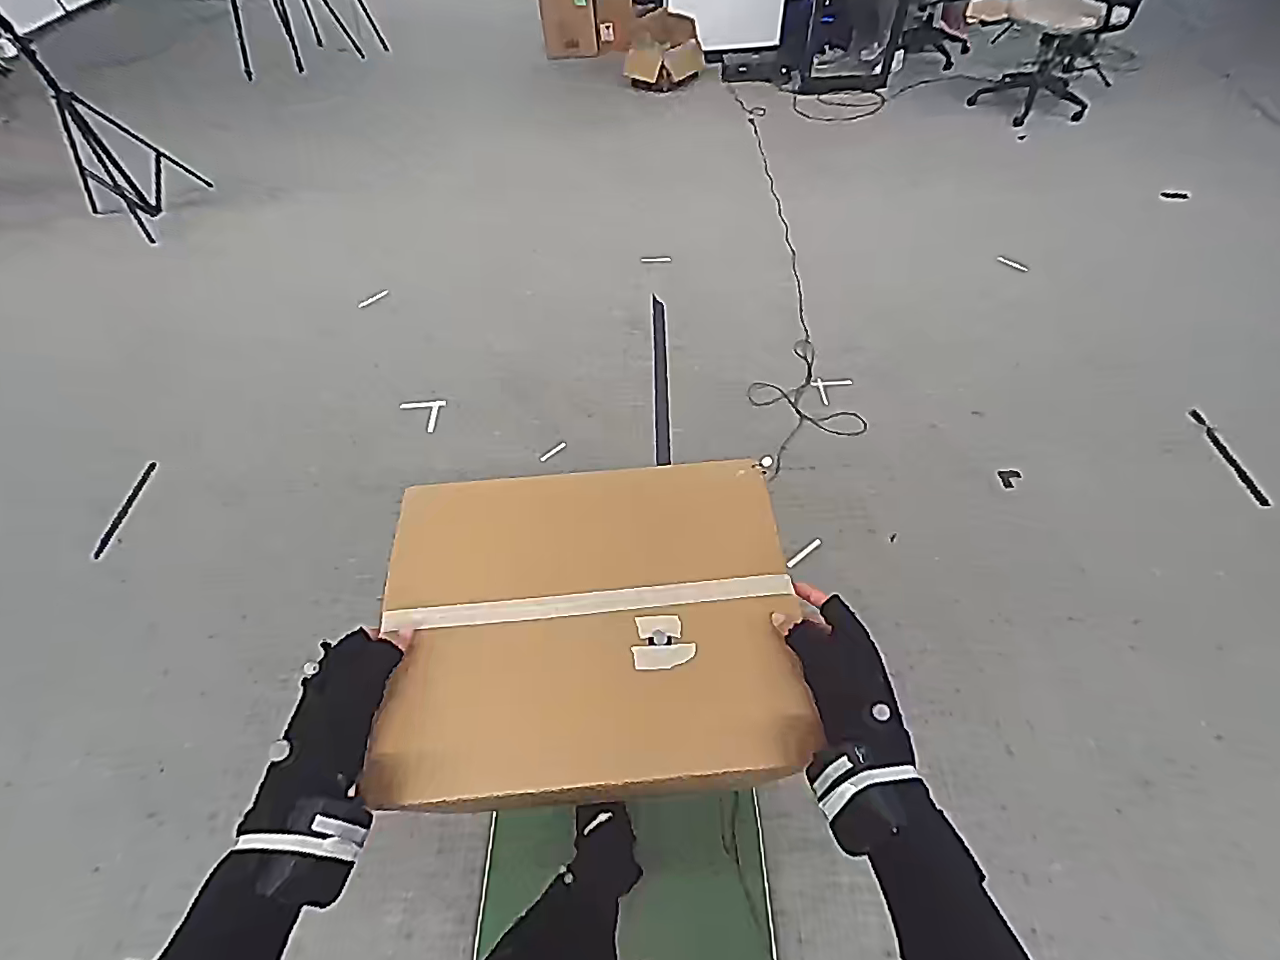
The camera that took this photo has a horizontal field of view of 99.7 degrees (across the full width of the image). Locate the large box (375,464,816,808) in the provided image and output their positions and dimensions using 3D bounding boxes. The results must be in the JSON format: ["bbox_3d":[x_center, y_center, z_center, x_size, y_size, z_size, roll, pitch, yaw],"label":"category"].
[{"bbox_3d":[-0.051,0.207,0.682,0.408,0.320,0.320,-5,58,-3],"label":"large box"}]
